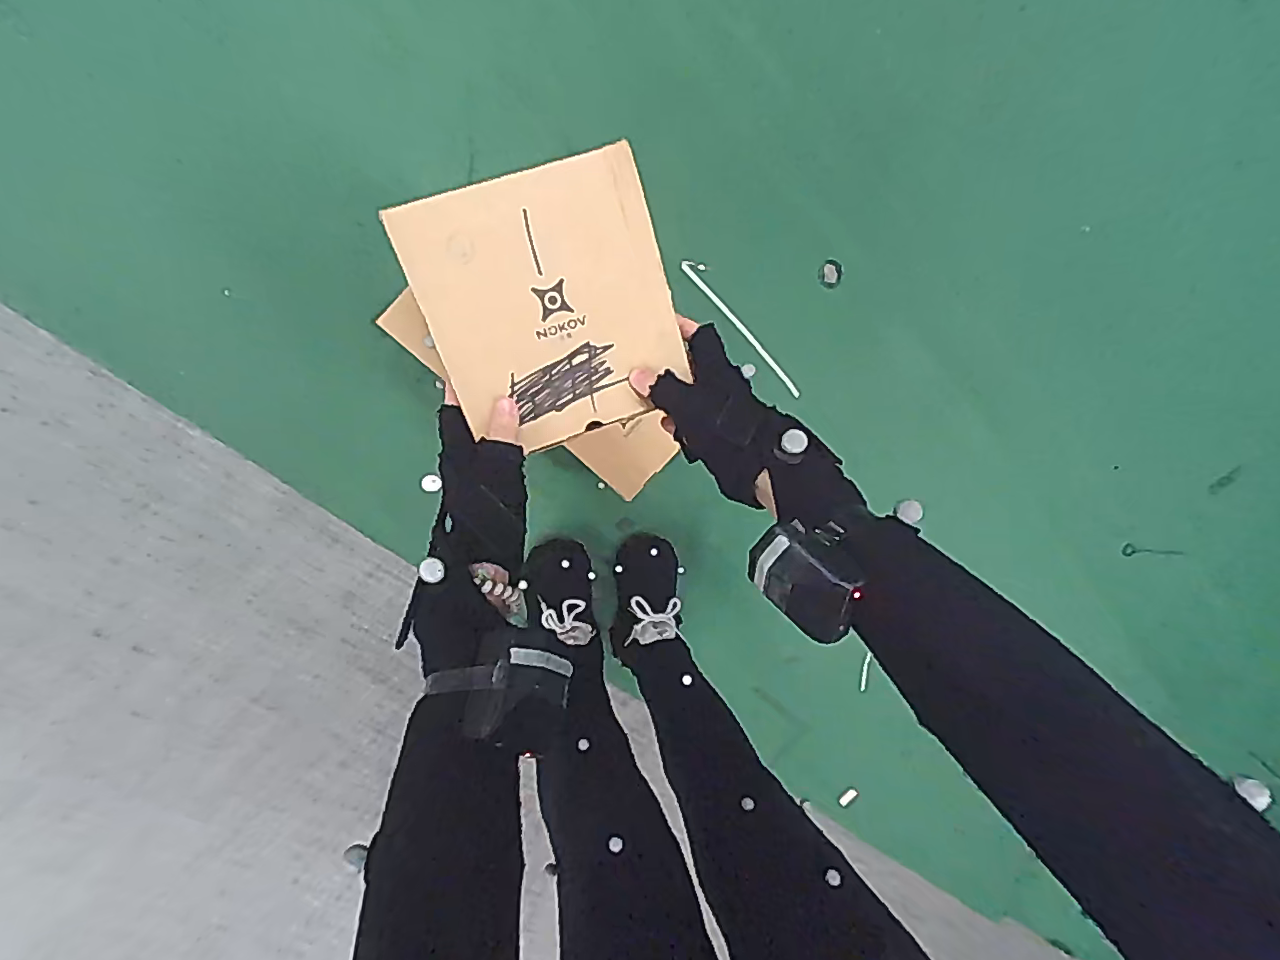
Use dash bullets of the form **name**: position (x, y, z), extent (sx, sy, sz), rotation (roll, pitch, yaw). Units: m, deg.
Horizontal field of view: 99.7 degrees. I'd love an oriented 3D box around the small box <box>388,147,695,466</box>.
- **small box**: position (-0.074, -0.136, 0.443), extent (0.168, 0.176, 0.179), rotation (-21, 110, -8)
